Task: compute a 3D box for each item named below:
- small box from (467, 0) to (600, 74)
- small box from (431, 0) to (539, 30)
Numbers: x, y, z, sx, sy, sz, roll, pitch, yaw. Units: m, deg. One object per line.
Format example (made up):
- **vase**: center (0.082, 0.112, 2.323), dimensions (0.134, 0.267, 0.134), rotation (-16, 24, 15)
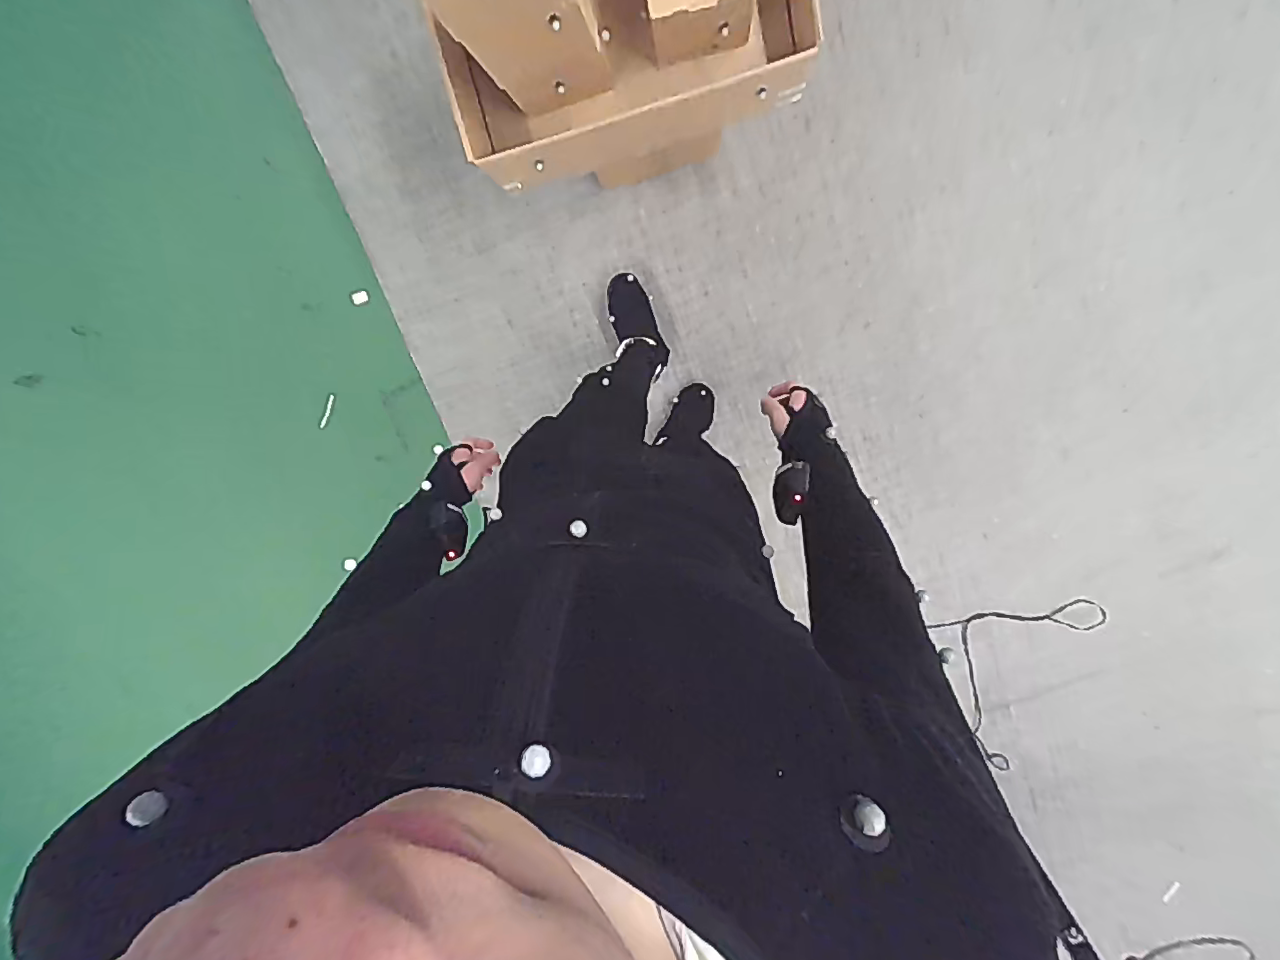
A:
- **small box**: center (-0.171, -0.726, 0.774), dimensions (0.179, 0.176, 0.168), rotation (-11, 105, 10)
- **small box**: center (-0.193, -0.674, 0.619), dimensions (0.179, 0.176, 0.168), rotation (-13, 104, 12)
